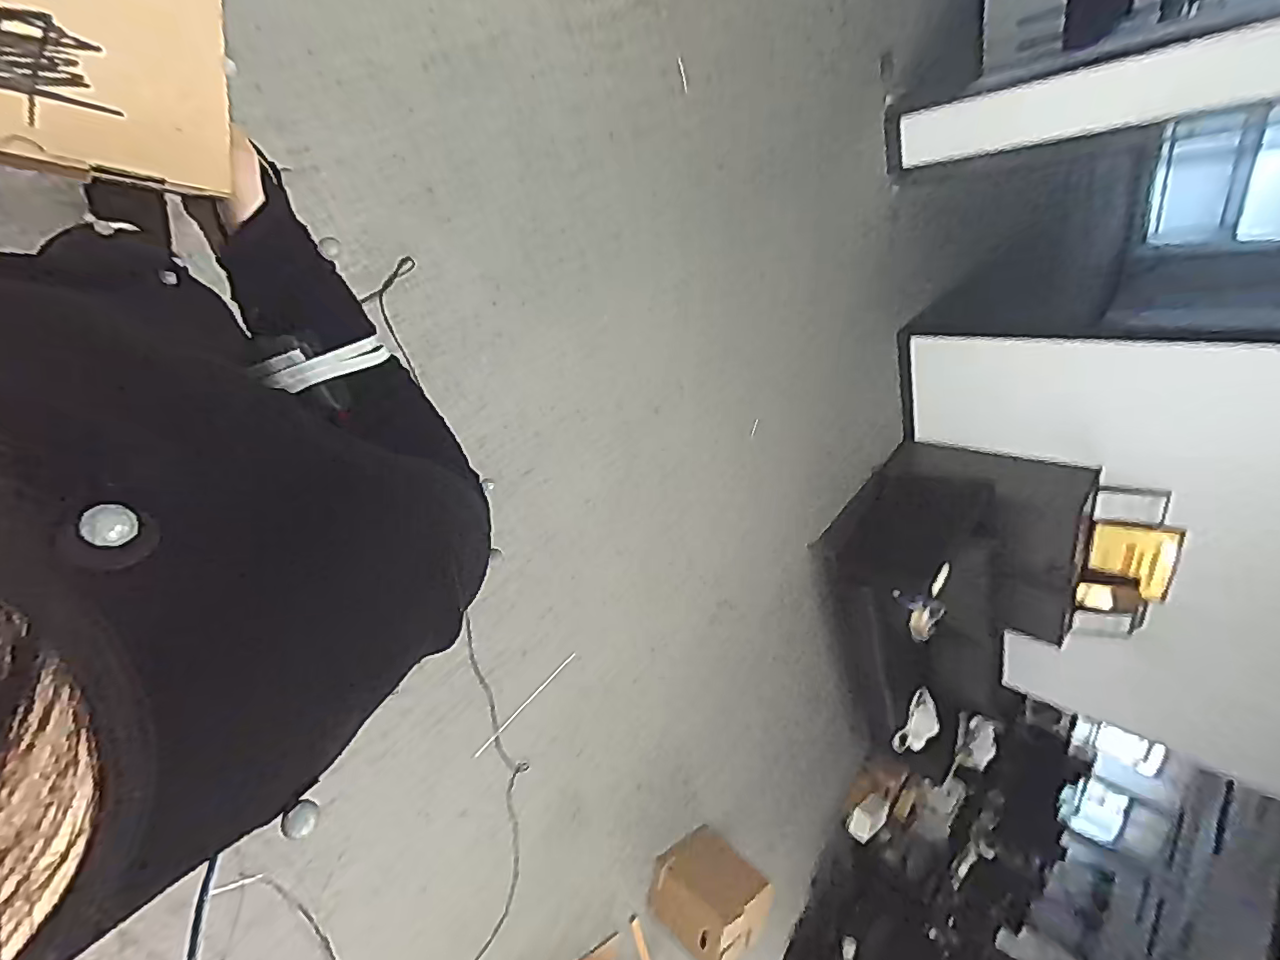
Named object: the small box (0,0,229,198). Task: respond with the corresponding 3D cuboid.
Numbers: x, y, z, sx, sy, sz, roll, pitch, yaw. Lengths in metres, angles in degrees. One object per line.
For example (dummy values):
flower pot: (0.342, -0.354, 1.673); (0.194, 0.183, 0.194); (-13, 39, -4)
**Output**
small box: (-0.333, -0.262, 0.280); (0.168, 0.176, 0.179); (-9, 116, -46)
